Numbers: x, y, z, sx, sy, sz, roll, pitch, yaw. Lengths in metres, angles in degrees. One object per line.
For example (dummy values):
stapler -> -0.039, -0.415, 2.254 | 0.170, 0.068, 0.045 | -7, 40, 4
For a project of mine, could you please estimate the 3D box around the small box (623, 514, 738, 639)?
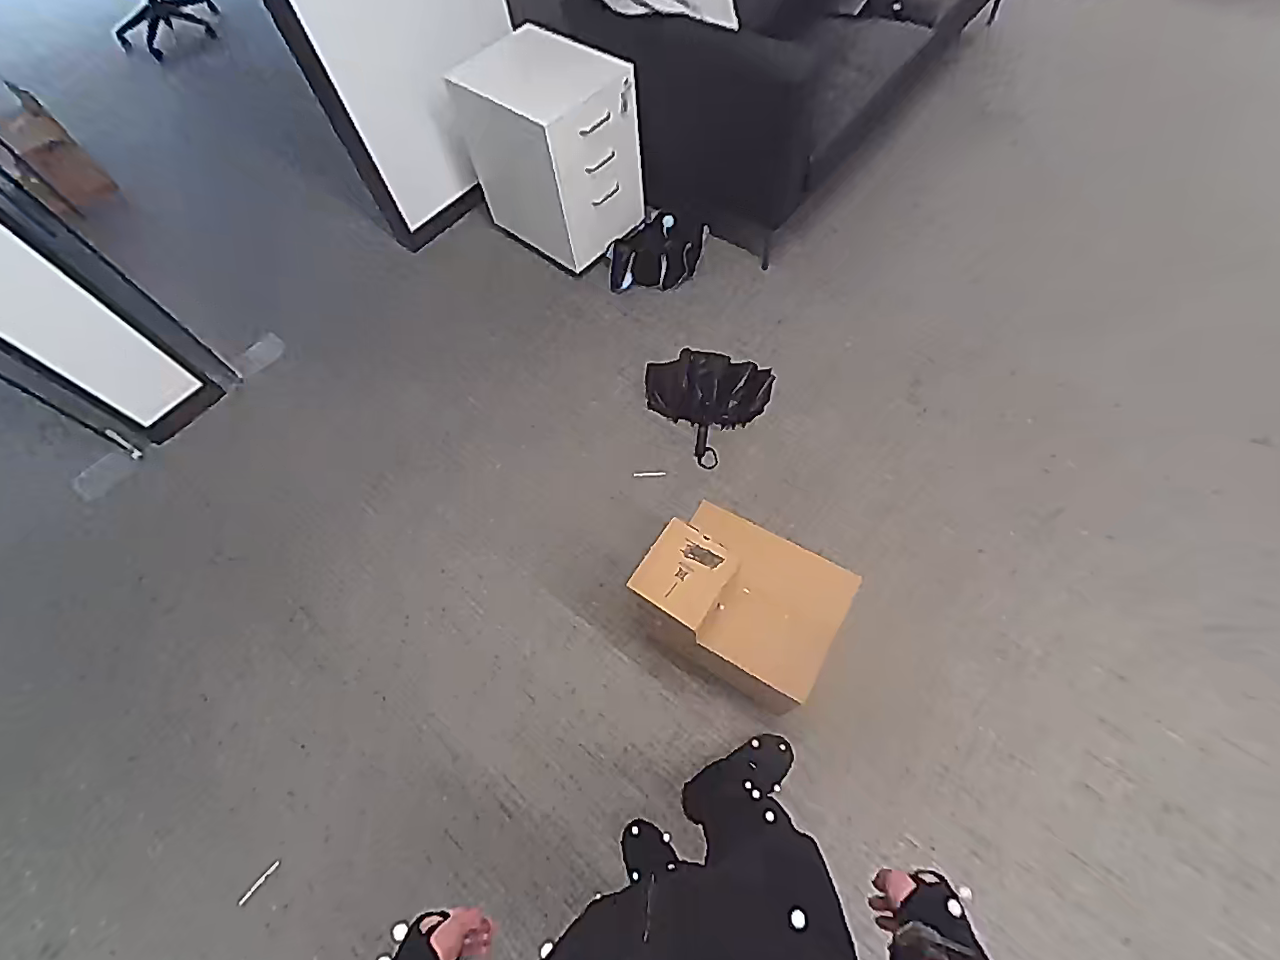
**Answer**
small box -> 0.086, 0.206, 1.130 | 0.168, 0.176, 0.179 | 31, 72, 19
